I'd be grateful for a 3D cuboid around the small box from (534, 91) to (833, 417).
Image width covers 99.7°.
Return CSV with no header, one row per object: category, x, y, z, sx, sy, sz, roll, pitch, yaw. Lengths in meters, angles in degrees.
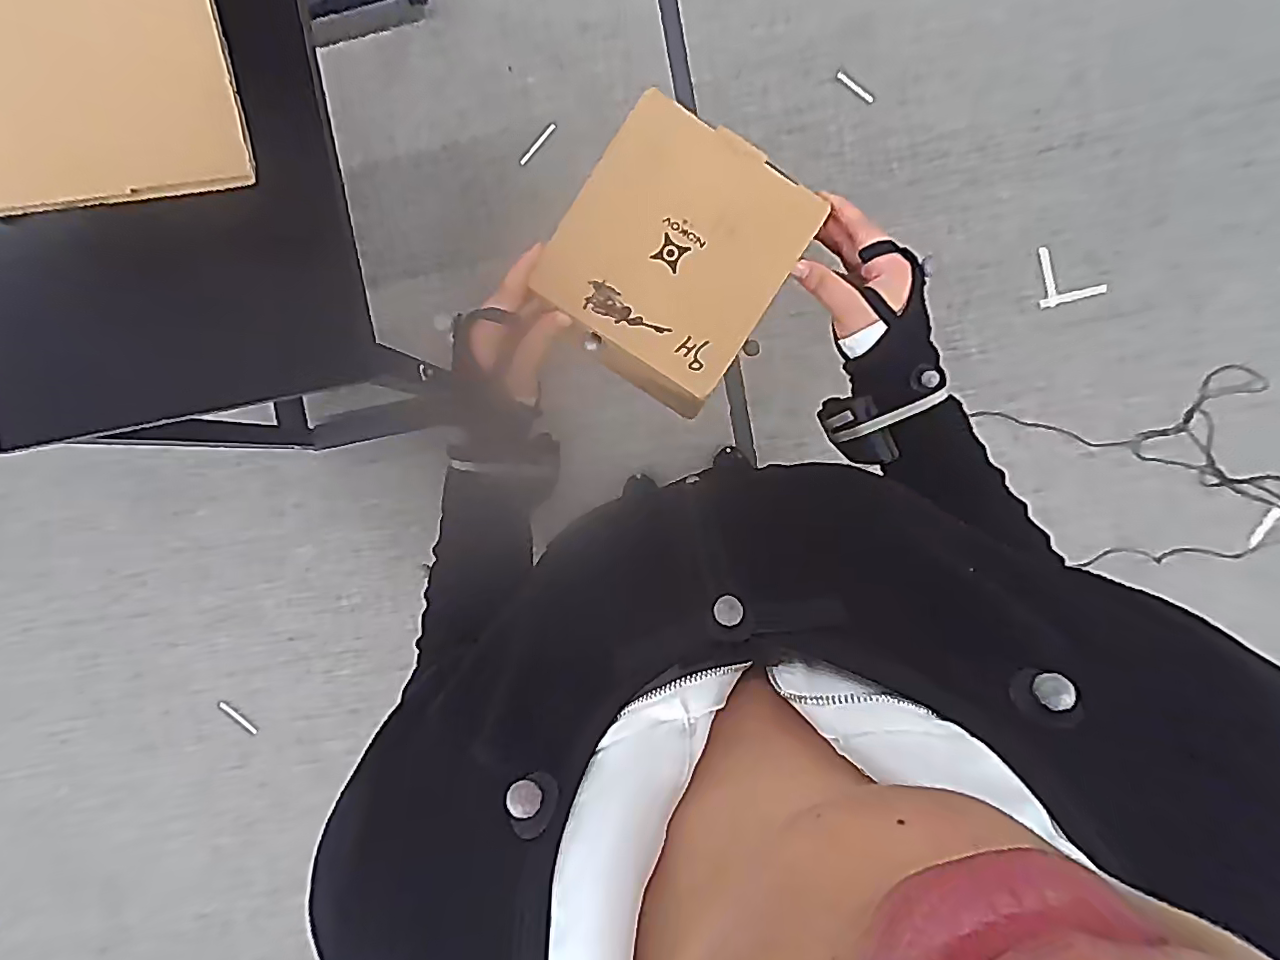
small box,0.034,-0.178,0.485,0.168,0.176,0.179,34,91,3
